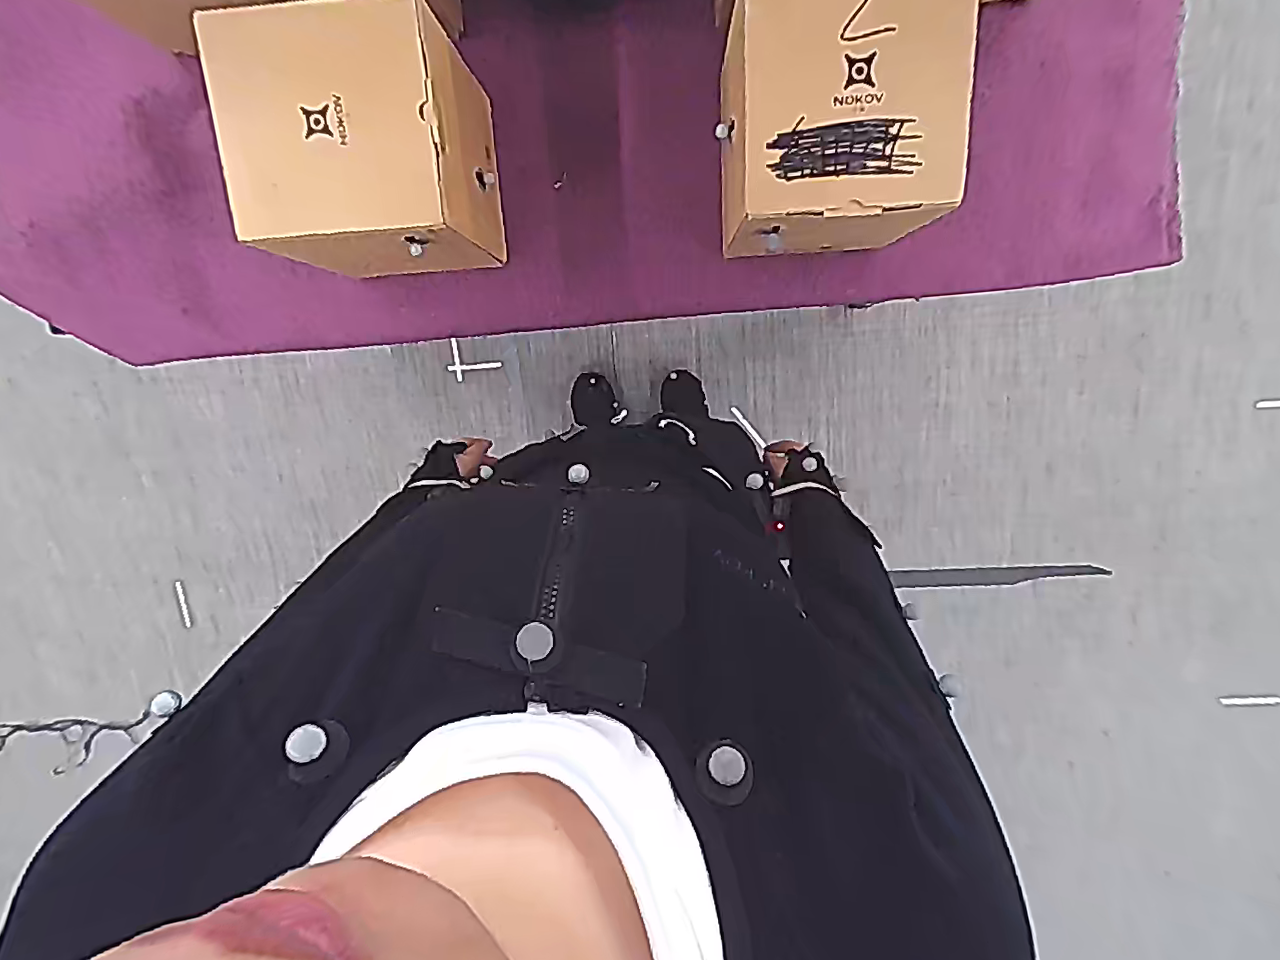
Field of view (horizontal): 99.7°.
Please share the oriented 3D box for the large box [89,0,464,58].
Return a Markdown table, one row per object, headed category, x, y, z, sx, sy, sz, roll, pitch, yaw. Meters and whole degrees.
| category | x | y | z | sx | sy | sz | roll | pitch | yaw |
| --- | --- | --- | --- | --- | --- | --- | --- | --- | --- |
| large box | -0.342 | -0.601 | 0.370 | 0.320 | 0.320 | 0.408 | -2 | 105 | 3 |
